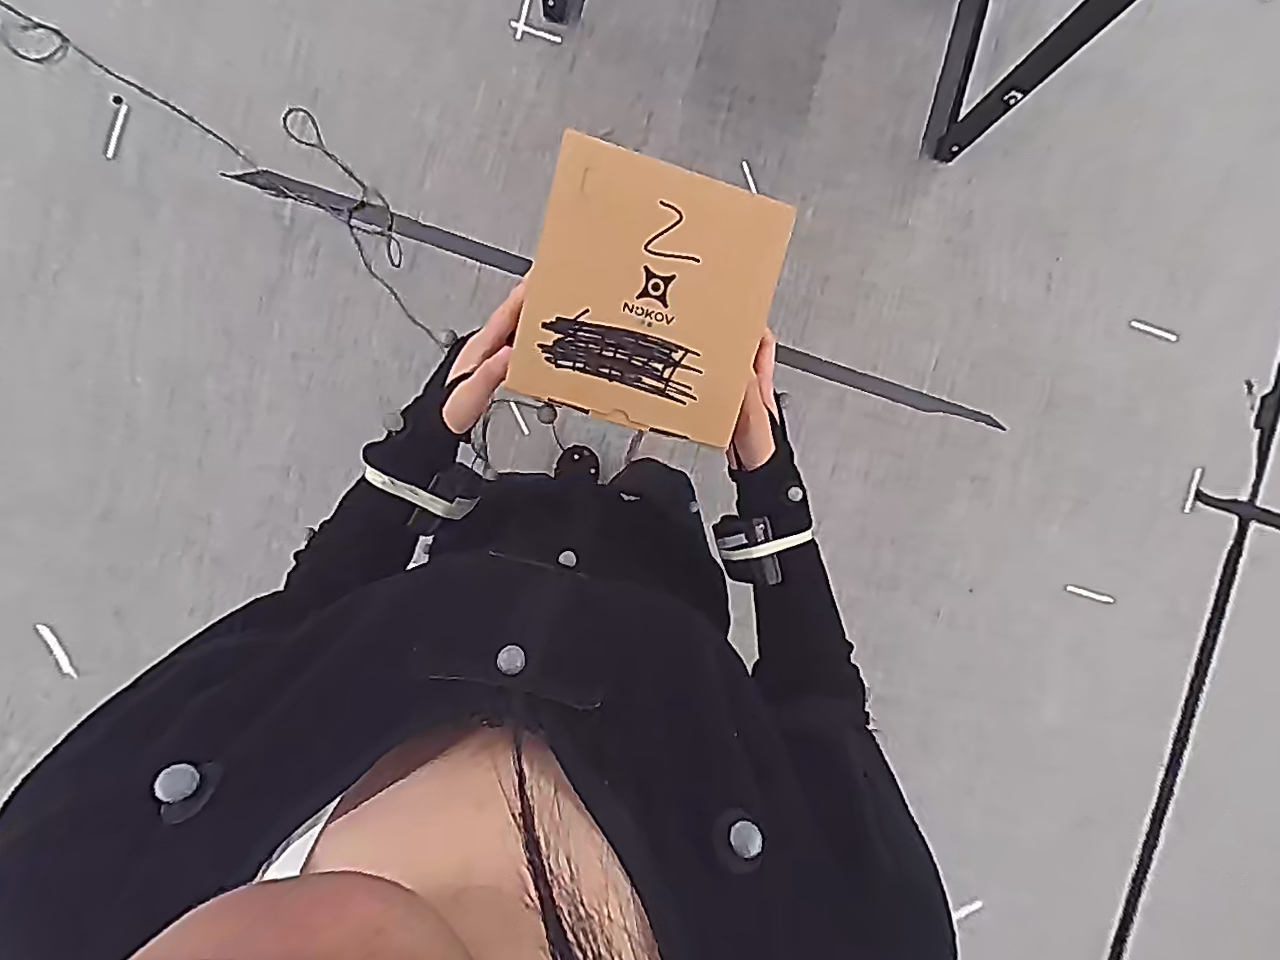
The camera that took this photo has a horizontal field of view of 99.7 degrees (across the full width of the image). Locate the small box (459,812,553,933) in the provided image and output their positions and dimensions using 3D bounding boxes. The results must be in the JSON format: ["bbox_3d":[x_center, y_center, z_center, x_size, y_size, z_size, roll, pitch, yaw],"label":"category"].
[{"bbox_3d":[-0.336,1.004,1.397,0.179,0.176,0.168,24,89,-7],"label":"small box"}]

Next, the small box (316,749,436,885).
[{"bbox_3d":[-0.577,0.743,1.209,0.168,0.176,0.179,19,89,-5],"label":"small box"}]
